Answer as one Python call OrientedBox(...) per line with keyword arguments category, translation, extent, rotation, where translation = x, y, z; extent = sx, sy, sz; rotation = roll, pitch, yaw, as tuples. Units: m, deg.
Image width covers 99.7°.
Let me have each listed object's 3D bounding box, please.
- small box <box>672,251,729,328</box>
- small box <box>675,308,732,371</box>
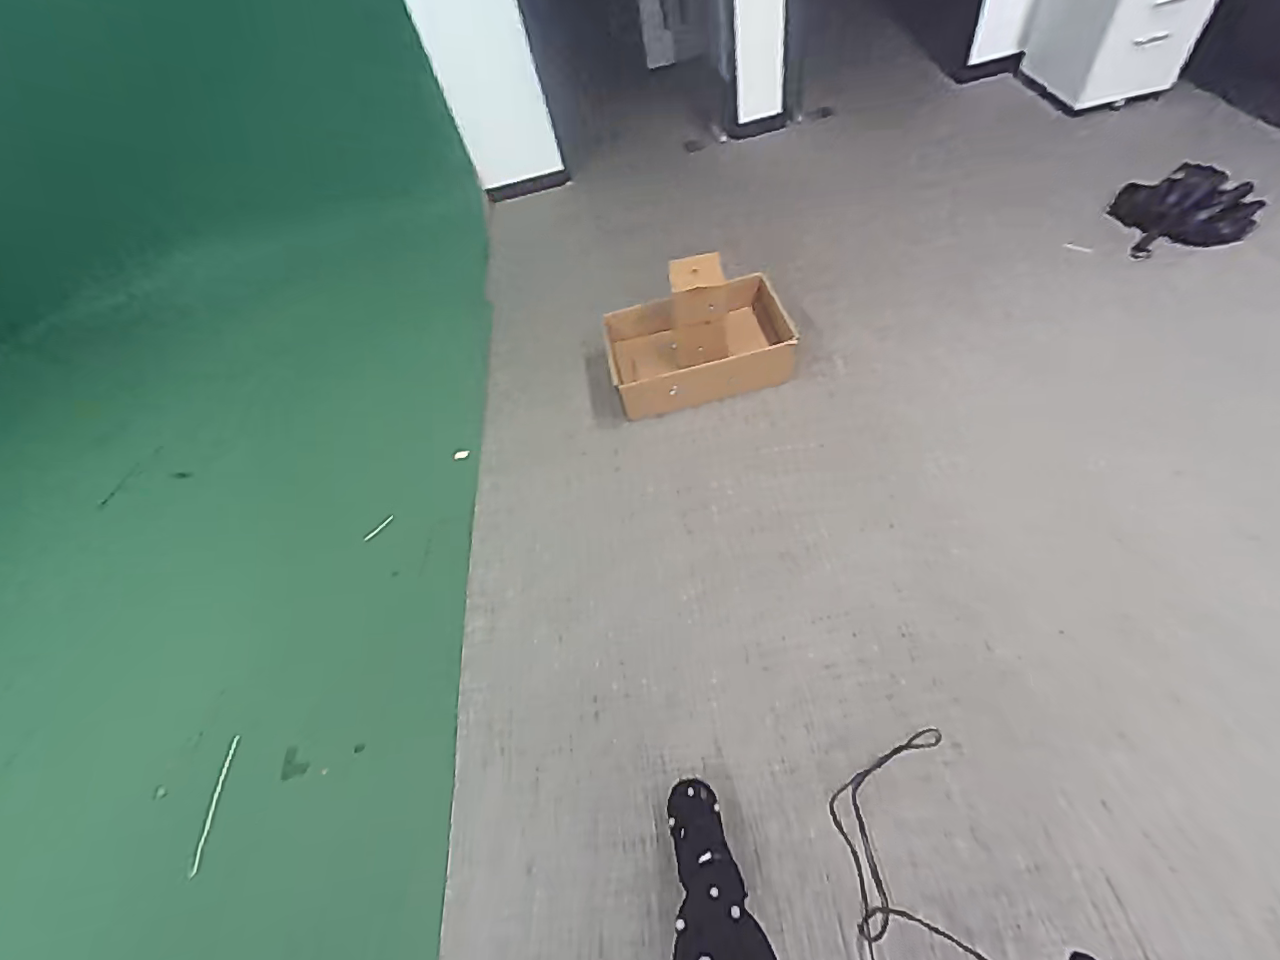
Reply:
OrientedBox(category="small box", translation=(0.202, -0.623, 1.792), extent=(0.168, 0.176, 0.179), rotation=(-7, 53, 7))
OrientedBox(category="small box", translation=(0.229, -0.517, 1.933), extent=(0.179, 0.176, 0.168), rotation=(-11, 53, 9))
